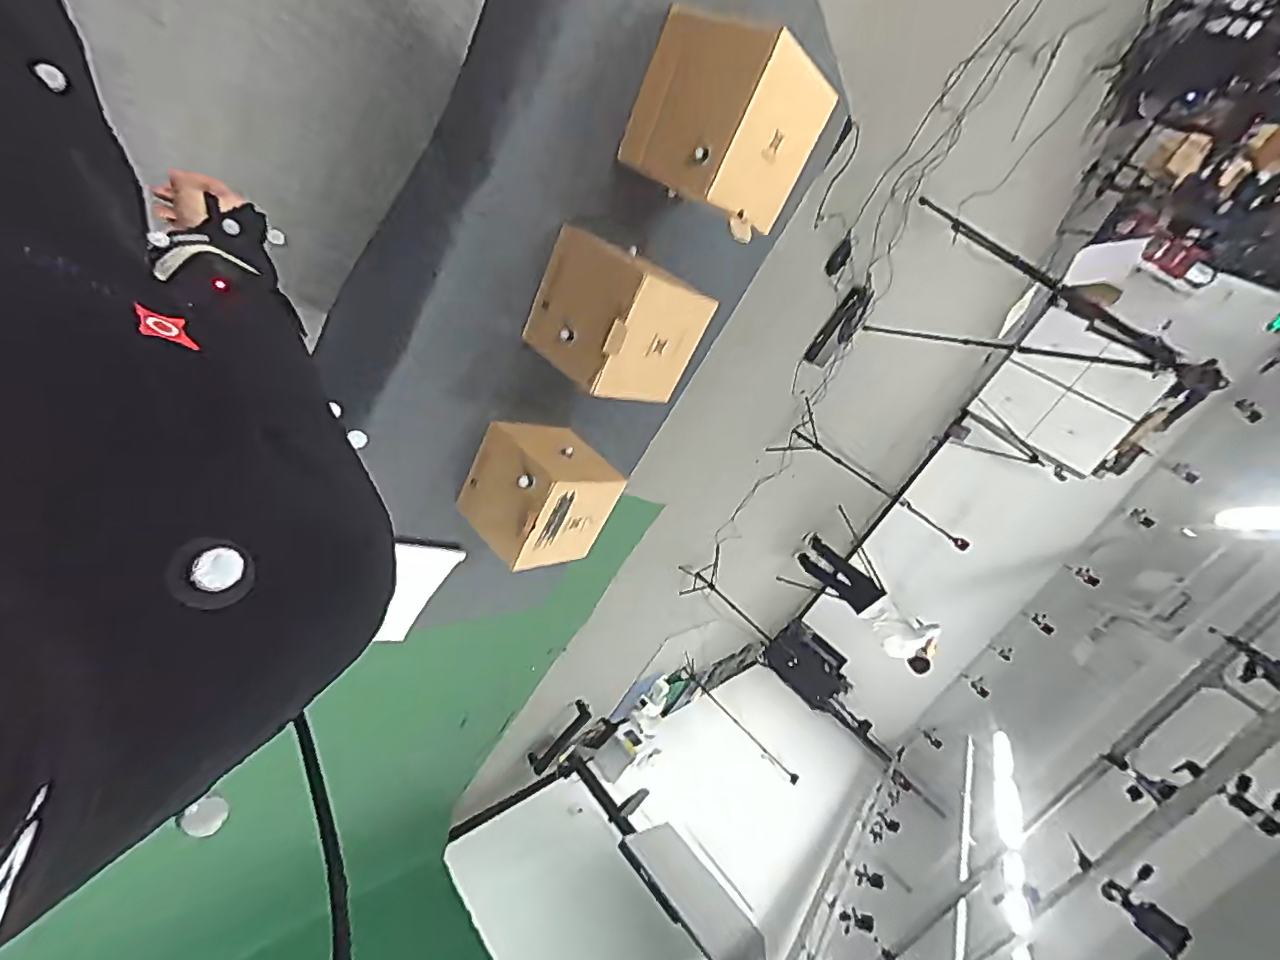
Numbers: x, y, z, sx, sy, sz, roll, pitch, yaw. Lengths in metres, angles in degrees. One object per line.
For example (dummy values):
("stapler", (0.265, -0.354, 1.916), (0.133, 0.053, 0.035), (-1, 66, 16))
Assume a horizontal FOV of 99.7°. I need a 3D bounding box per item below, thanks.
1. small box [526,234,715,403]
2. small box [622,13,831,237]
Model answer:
("small box", (-0.032, -0.227, 0.773), (0.179, 0.176, 0.168), (-7, 132, -53))
("small box", (0.104, -0.448, 0.694), (0.168, 0.176, 0.179), (-9, 133, -51))
